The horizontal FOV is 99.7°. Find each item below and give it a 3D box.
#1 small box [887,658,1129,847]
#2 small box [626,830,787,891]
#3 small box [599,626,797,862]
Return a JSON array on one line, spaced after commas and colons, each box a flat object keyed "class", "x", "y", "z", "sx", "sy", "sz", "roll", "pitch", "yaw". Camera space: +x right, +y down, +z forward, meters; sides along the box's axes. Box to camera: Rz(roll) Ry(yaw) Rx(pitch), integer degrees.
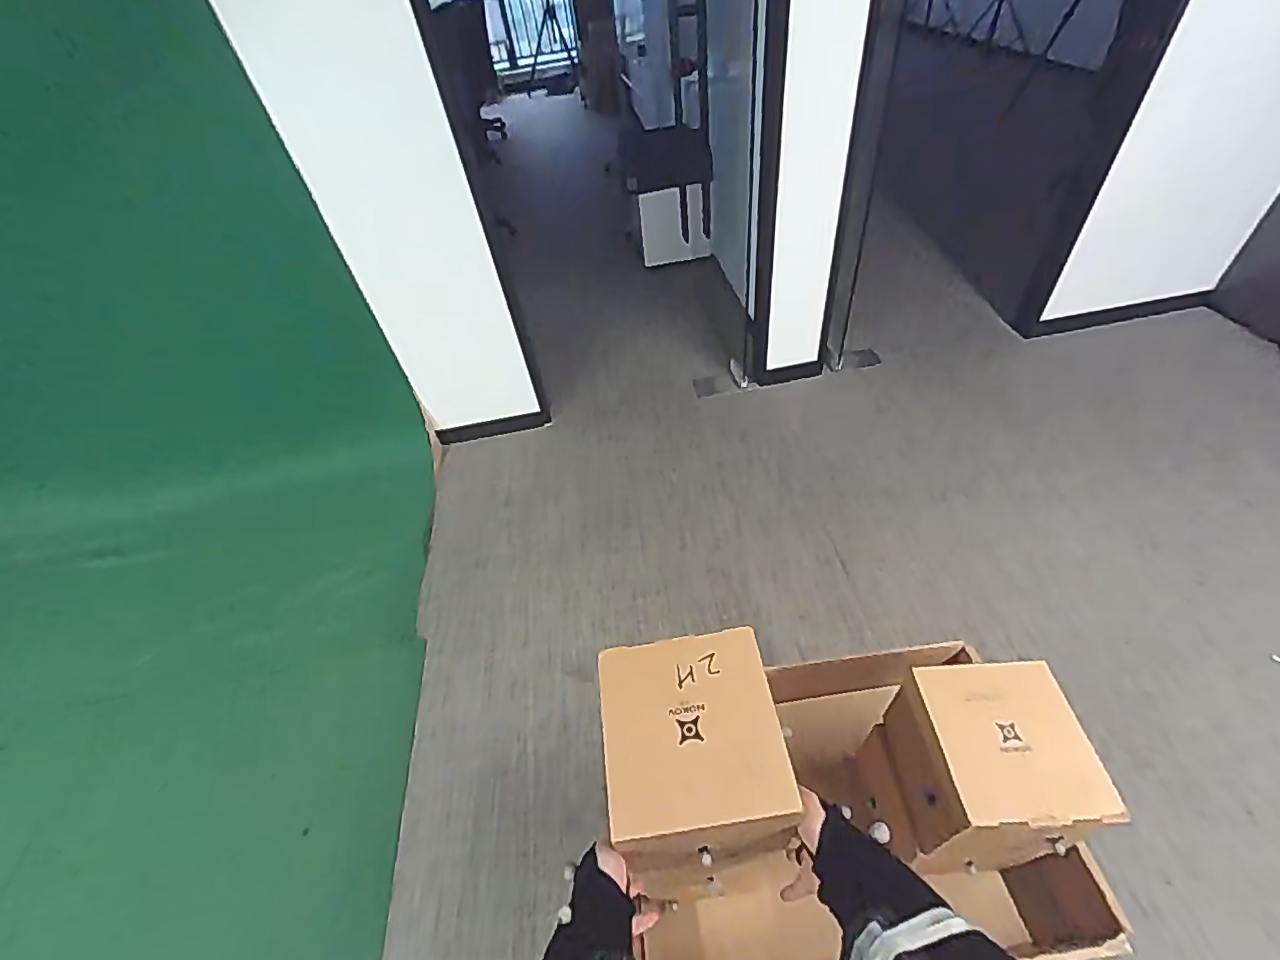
[{"class": "small box", "x": 0.431, "y": 0.344, "z": 0.674, "sx": 0.168, "sy": 0.176, "sz": 0.179, "roll": -4, "pitch": 46, "yaw": 4}, {"class": "small box", "x": 0.070, "y": 0.398, "z": 0.685, "sx": 0.179, "sy": 0.176, "sz": 0.168, "roll": -10, "pitch": 46, "yaw": -1}, {"class": "small box", "x": 0.055, "y": 0.281, "z": 0.568, "sx": 0.168, "sy": 0.176, "sz": 0.179, "roll": -9, "pitch": 46, "yaw": 0}]
